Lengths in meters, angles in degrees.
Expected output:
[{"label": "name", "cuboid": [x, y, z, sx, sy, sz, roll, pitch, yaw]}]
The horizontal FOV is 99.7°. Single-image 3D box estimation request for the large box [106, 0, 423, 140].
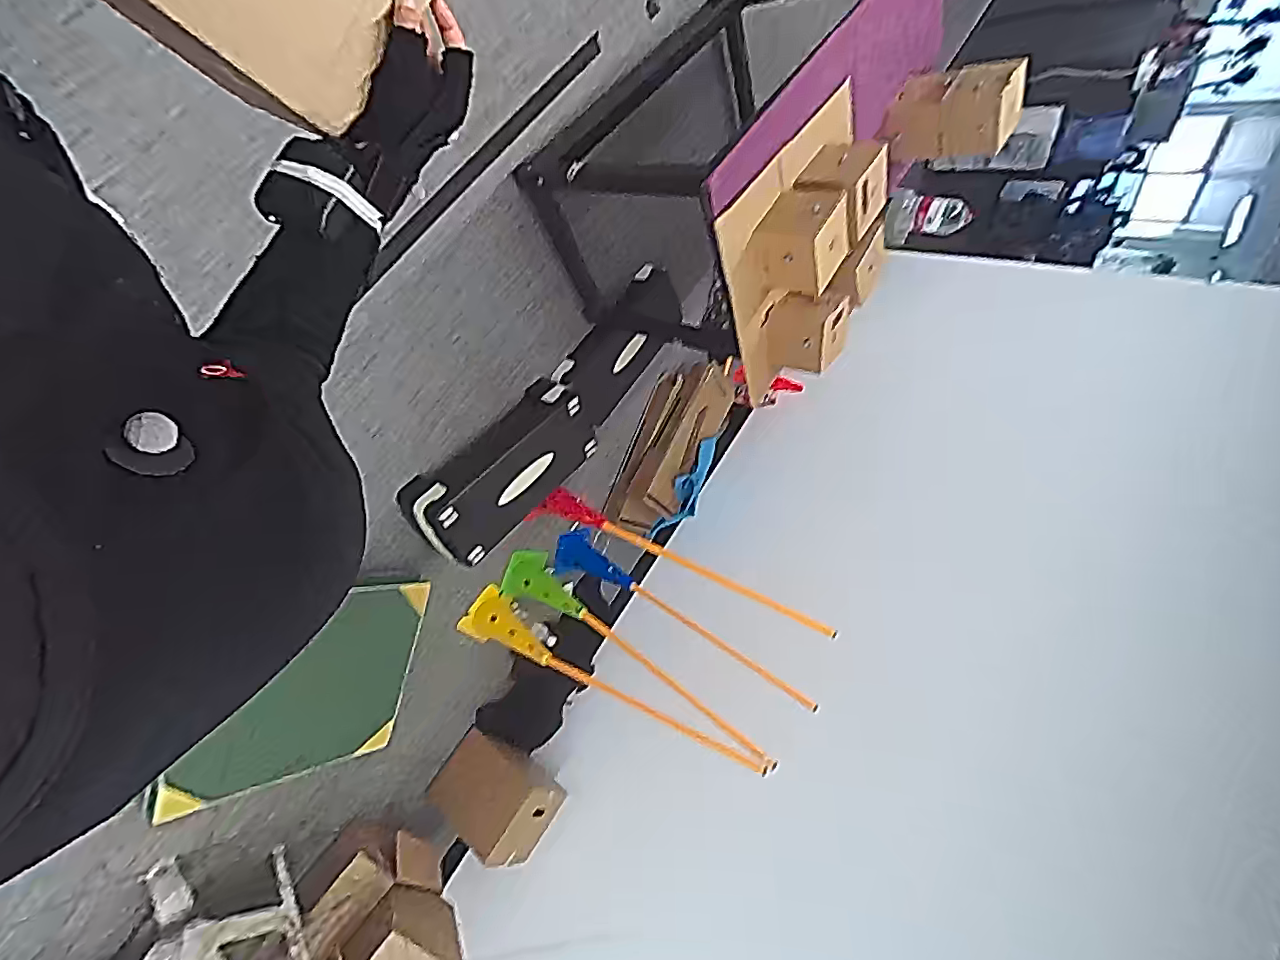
[{"label": "large box", "cuboid": [-0.371, -0.530, 0.360, 0.320, 0.320, 0.408, -56, 147, 7]}]
